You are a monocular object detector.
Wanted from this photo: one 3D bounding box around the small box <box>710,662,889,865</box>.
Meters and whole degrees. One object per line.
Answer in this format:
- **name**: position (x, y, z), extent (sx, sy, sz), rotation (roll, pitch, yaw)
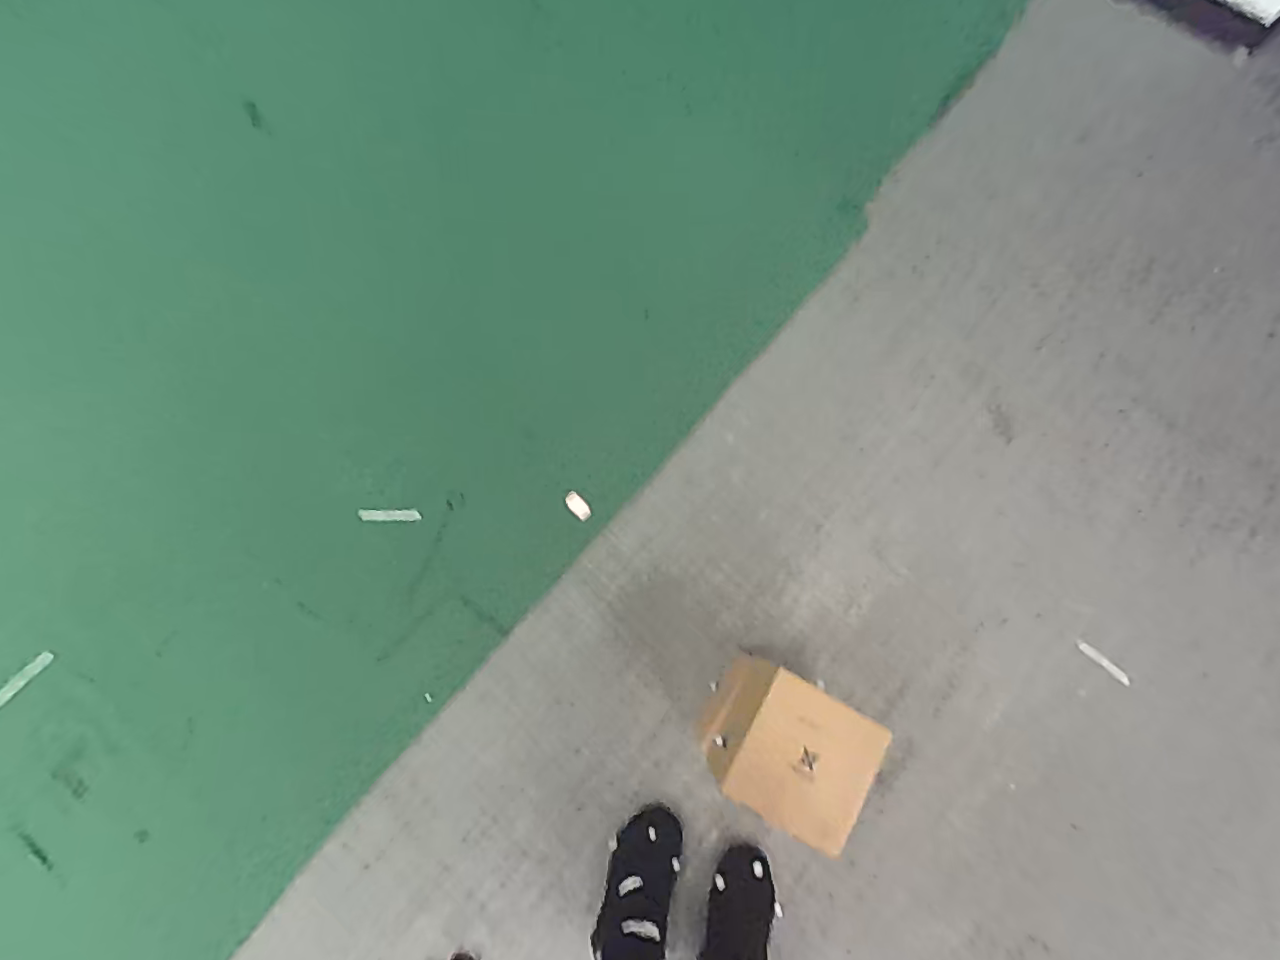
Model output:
- **small box**: position (0.212, 0.383, 0.770), extent (0.168, 0.176, 0.179), rotation (30, 79, 6)
